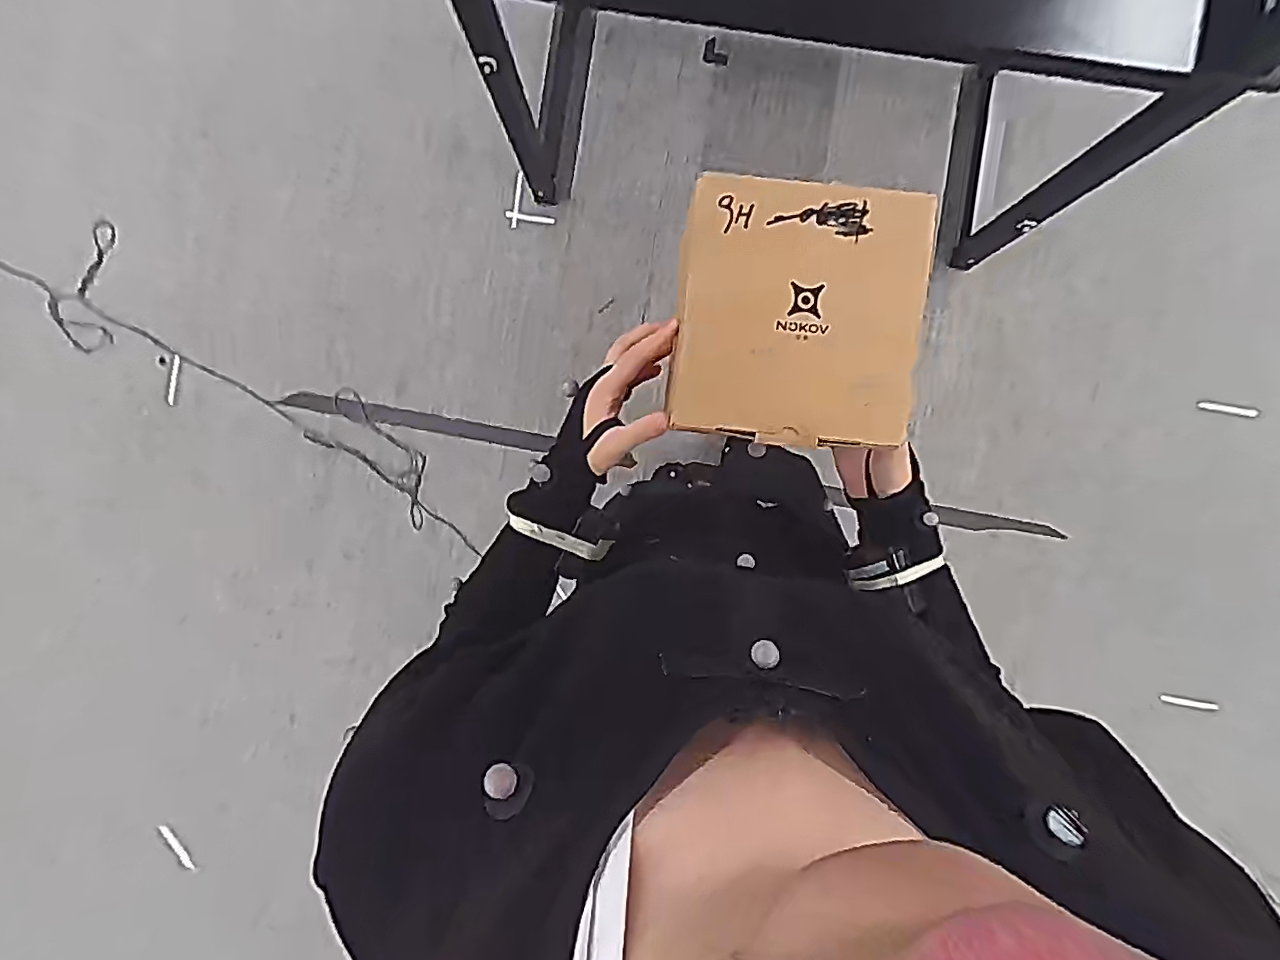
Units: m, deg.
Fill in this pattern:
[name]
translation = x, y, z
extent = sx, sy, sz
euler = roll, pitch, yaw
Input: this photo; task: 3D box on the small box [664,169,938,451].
[small box]
translation = 0.111, -0.123, 0.450
extent = 0.168, 0.176, 0.179
euler = 6, 96, -1
